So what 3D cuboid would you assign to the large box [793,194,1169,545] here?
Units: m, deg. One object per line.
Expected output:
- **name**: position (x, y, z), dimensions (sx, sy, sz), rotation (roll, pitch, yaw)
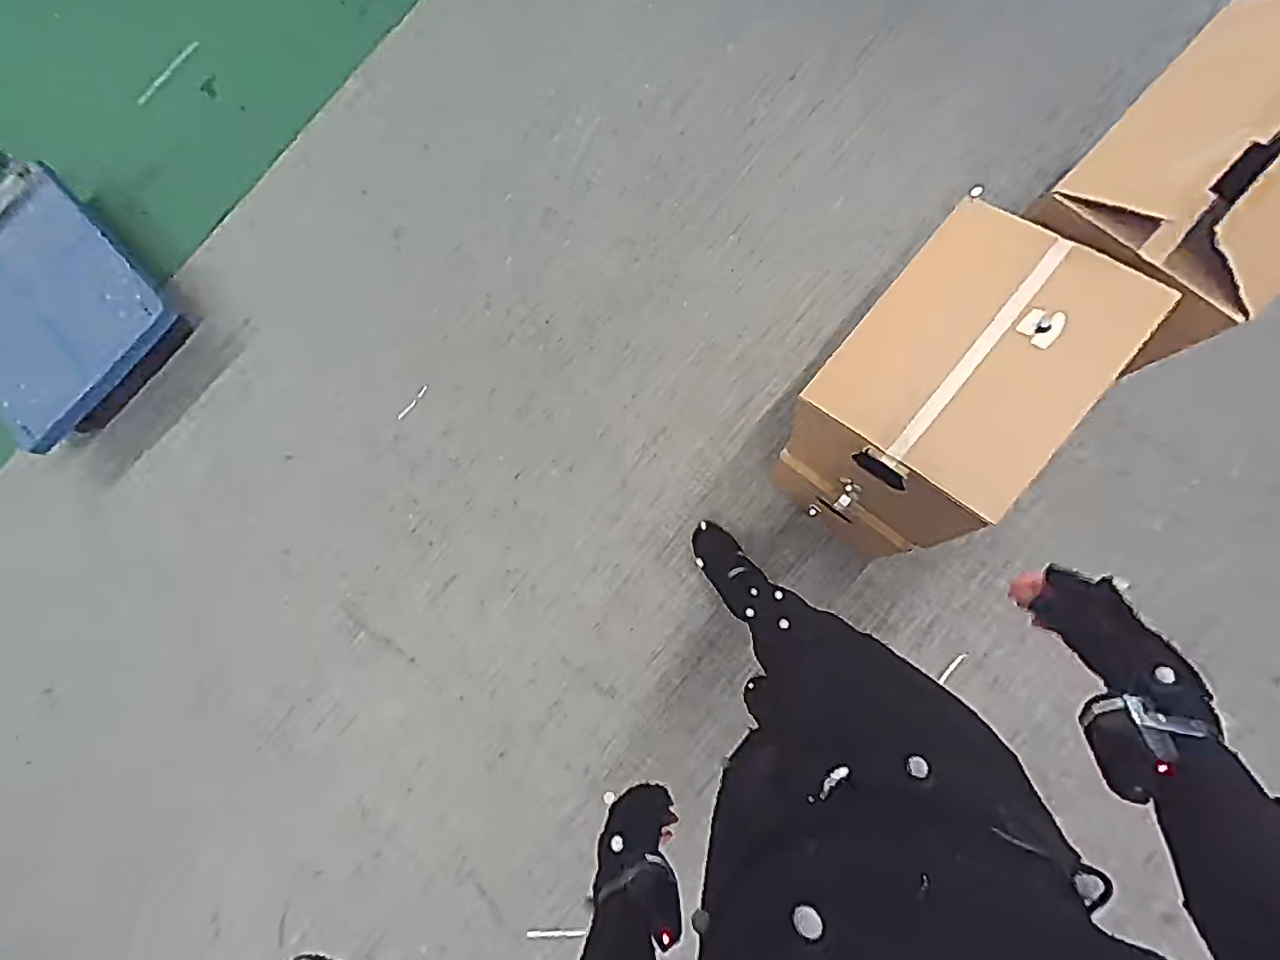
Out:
- **large box**: position (0.500, -0.154, 0.894), dimensions (0.320, 0.320, 0.408), rotation (39, 87, 18)
